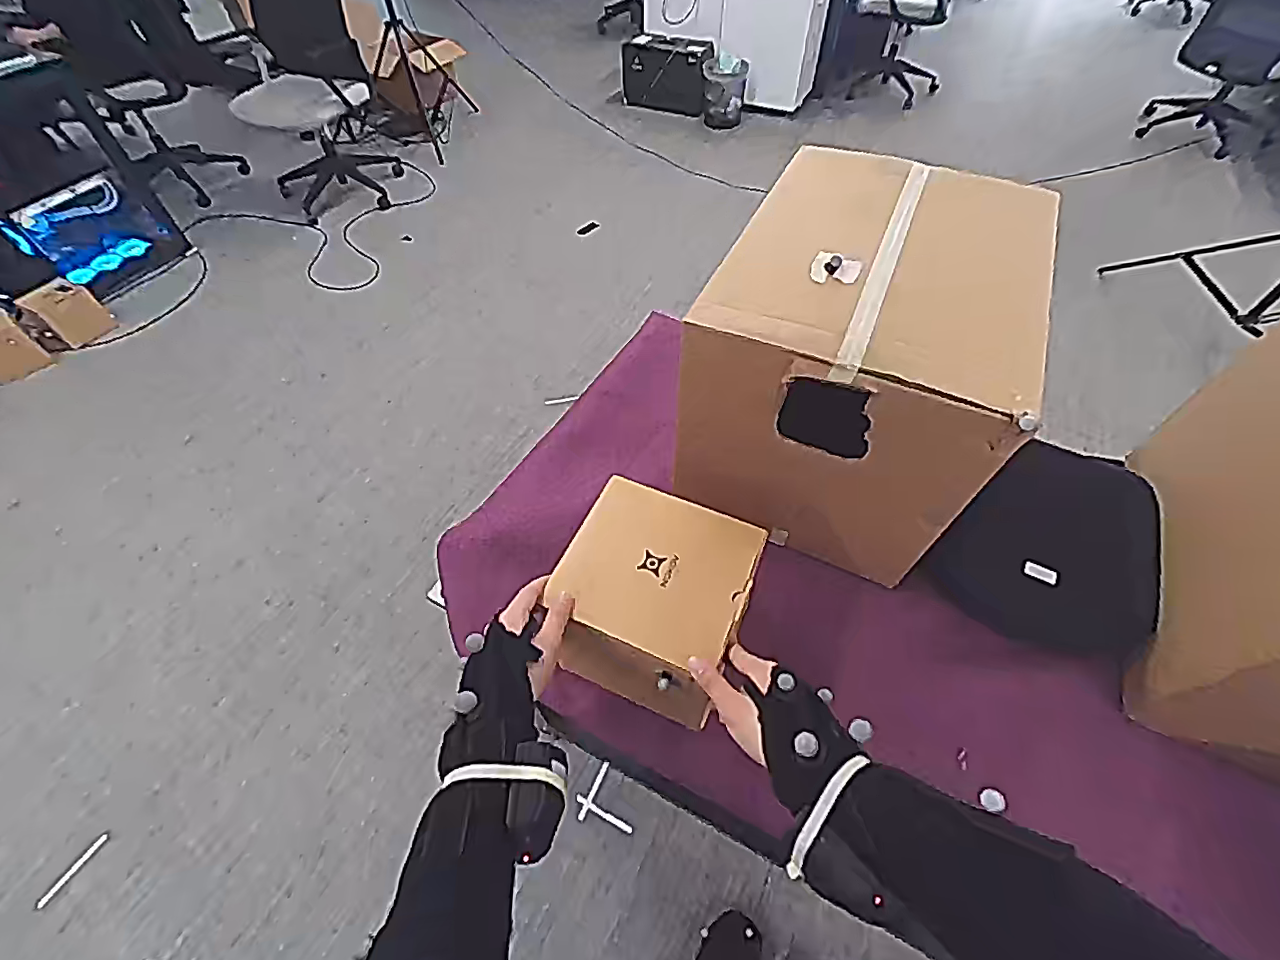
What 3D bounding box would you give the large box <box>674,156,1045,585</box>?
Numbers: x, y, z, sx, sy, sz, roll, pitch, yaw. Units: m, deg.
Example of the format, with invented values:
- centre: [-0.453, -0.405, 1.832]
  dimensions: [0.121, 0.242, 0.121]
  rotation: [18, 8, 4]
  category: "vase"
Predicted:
- centre: [0.263, -0.145, 0.701]
  dimensions: [0.320, 0.320, 0.408]
  rotation: [20, 58, 16]
  category: "large box"
